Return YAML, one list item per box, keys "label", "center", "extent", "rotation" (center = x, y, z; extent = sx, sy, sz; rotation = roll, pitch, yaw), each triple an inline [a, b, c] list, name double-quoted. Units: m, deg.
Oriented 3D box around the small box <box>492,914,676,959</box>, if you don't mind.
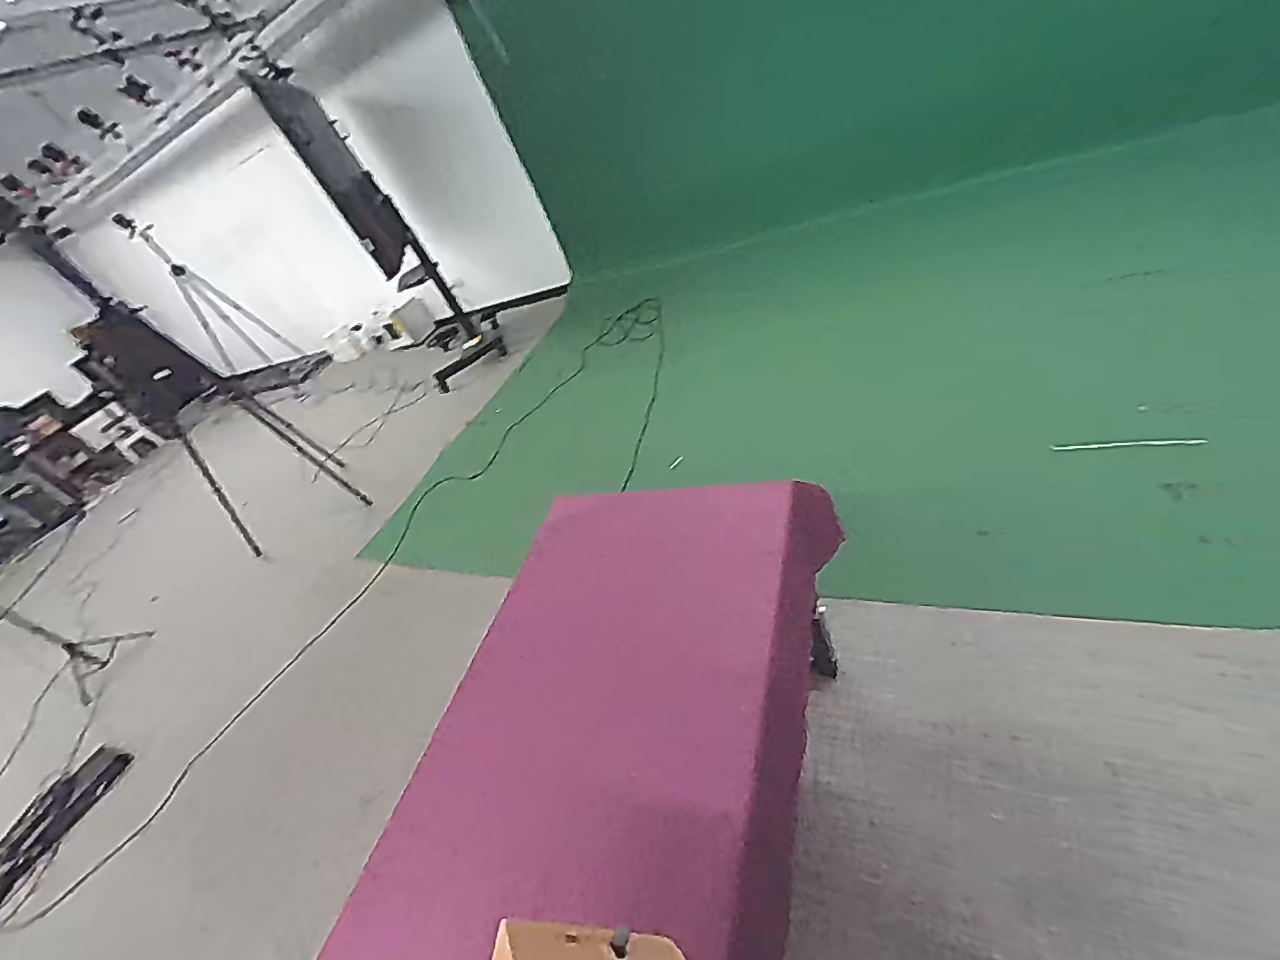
- label: "small box"
  center: [-0.040, 0.471, 0.400]
  extent: [0.176, 0.168, 0.179]
  rotation: [144, 141, -66]
